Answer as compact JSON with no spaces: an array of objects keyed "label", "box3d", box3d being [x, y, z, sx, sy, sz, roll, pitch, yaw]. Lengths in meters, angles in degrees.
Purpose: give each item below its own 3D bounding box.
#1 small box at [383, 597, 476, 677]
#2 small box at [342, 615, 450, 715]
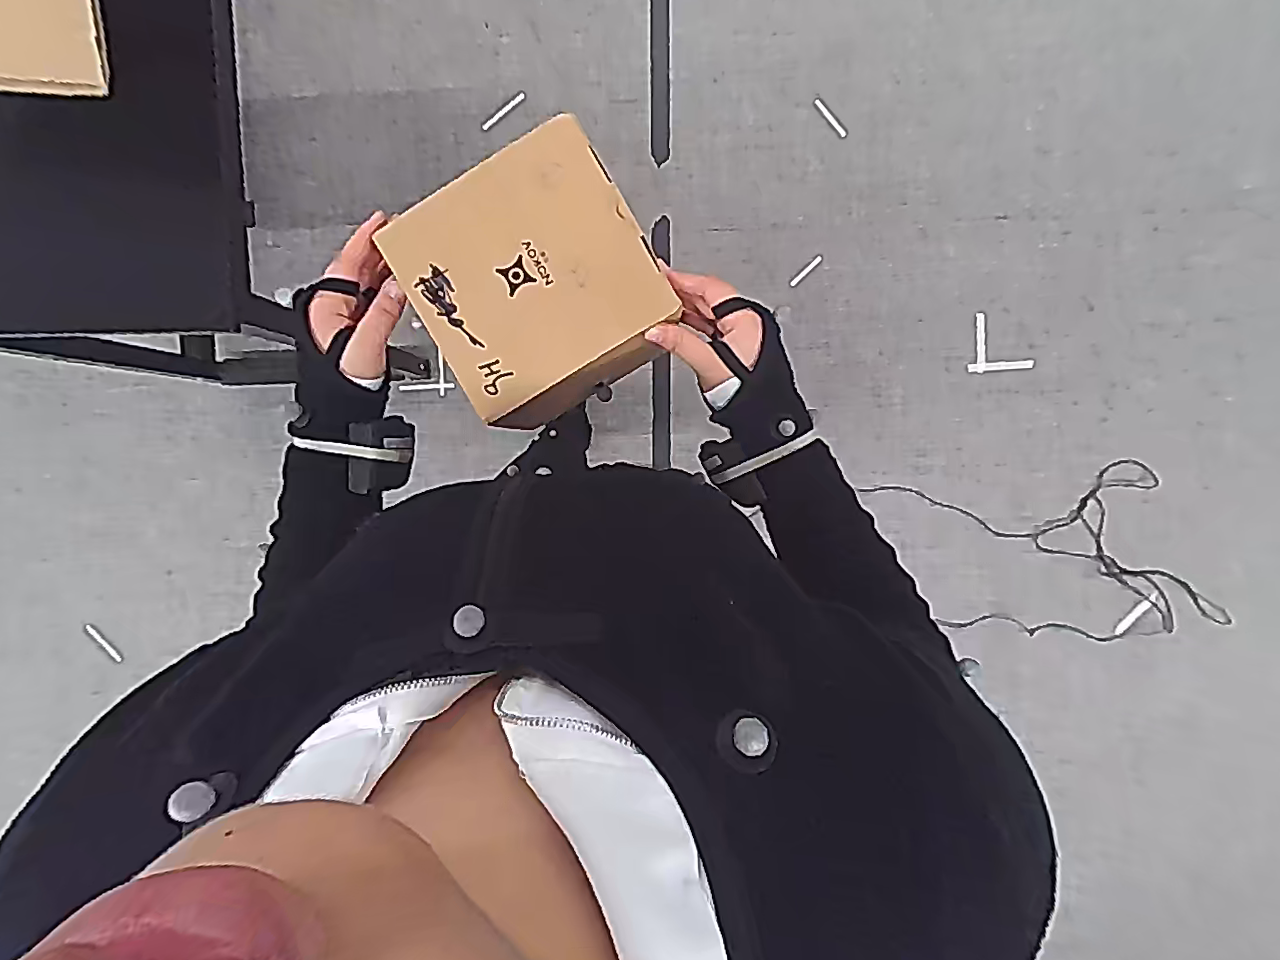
[{"label":"small box","box3d":[-0.558,0.419,1.447,0.179,0.176,0.168,-5,94,0]},{"label":"small box","box3d":[-0.567,0.431,1.284,0.179,0.176,0.168,-7,93,2]}]
